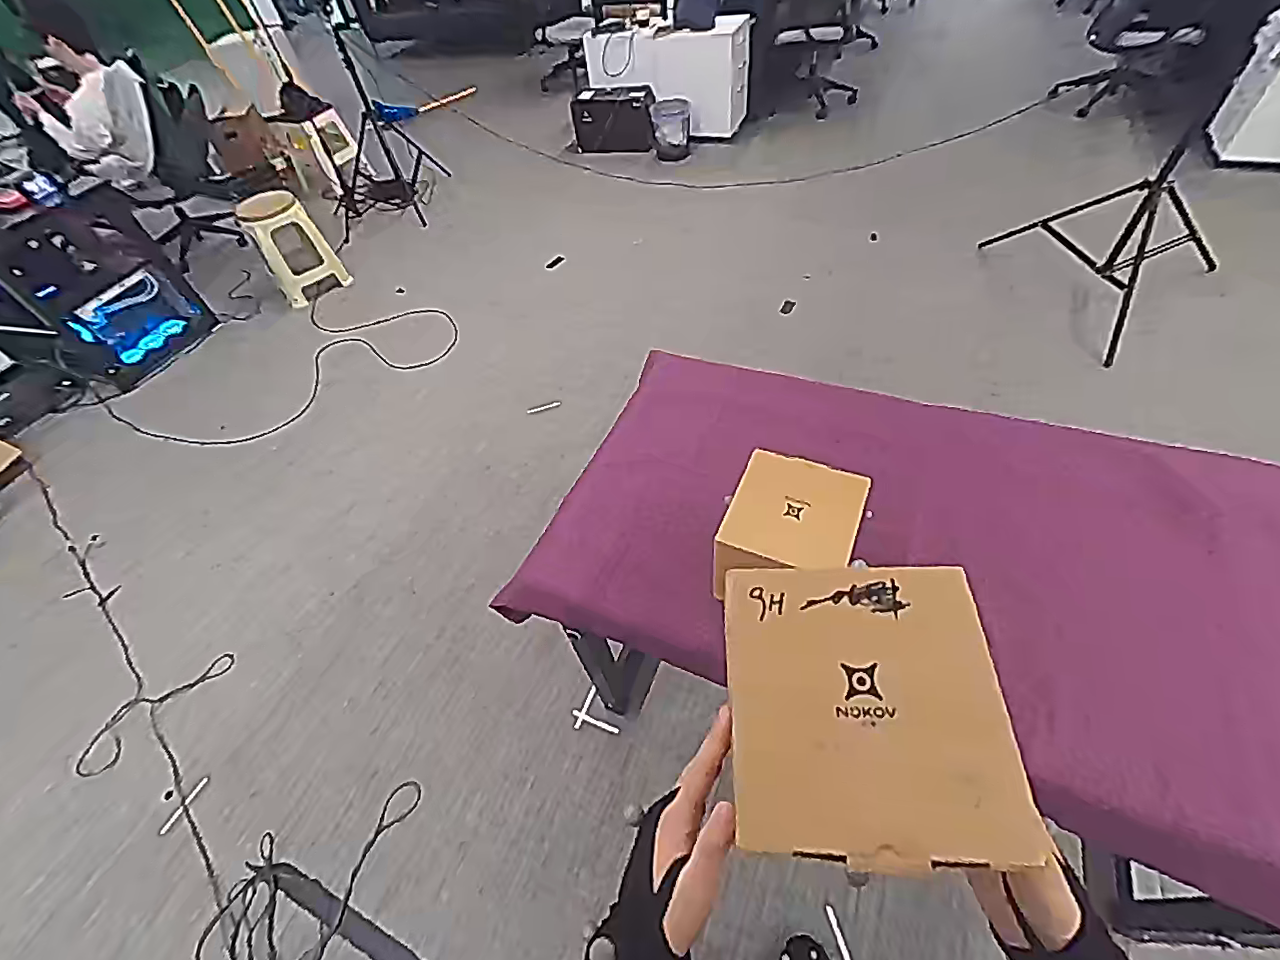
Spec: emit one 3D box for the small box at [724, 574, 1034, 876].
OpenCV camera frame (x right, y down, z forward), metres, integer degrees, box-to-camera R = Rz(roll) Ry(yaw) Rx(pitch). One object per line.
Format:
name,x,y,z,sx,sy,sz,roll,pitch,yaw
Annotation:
small box,0.151,0.184,0.416,0.168,0.176,0.179,-2,58,7

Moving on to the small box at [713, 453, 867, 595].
small box,0.214,0.095,0.787,0.168,0.176,0.179,17,54,20
